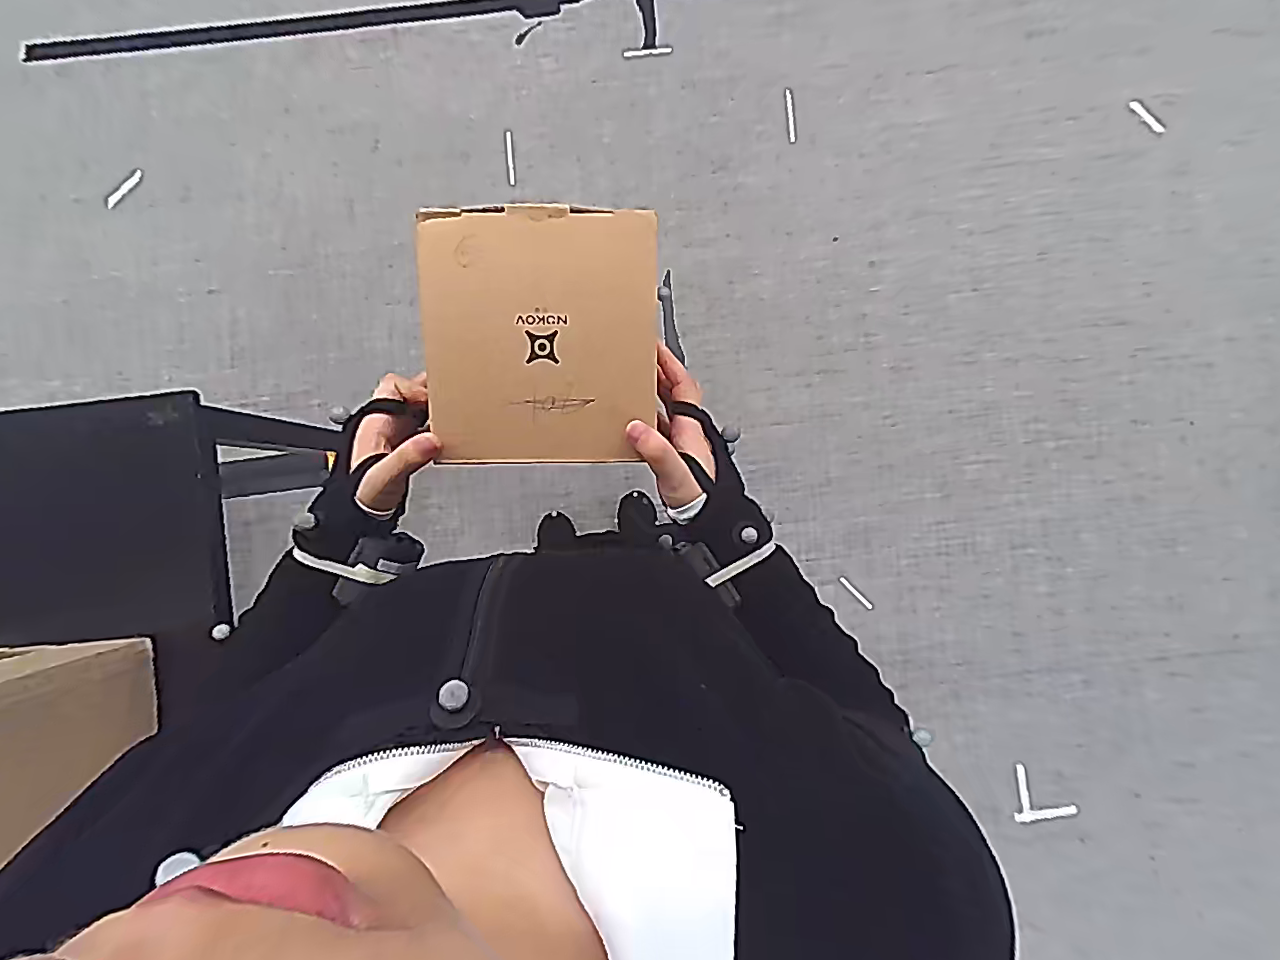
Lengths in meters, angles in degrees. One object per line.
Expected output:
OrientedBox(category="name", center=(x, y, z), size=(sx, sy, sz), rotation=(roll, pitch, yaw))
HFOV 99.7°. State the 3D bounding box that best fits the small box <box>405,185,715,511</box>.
OrientedBox(category="small box", center=(-0.045, -0.083, 0.377), size=(0.168, 0.176, 0.179), rotation=(-1, 102, -2))
